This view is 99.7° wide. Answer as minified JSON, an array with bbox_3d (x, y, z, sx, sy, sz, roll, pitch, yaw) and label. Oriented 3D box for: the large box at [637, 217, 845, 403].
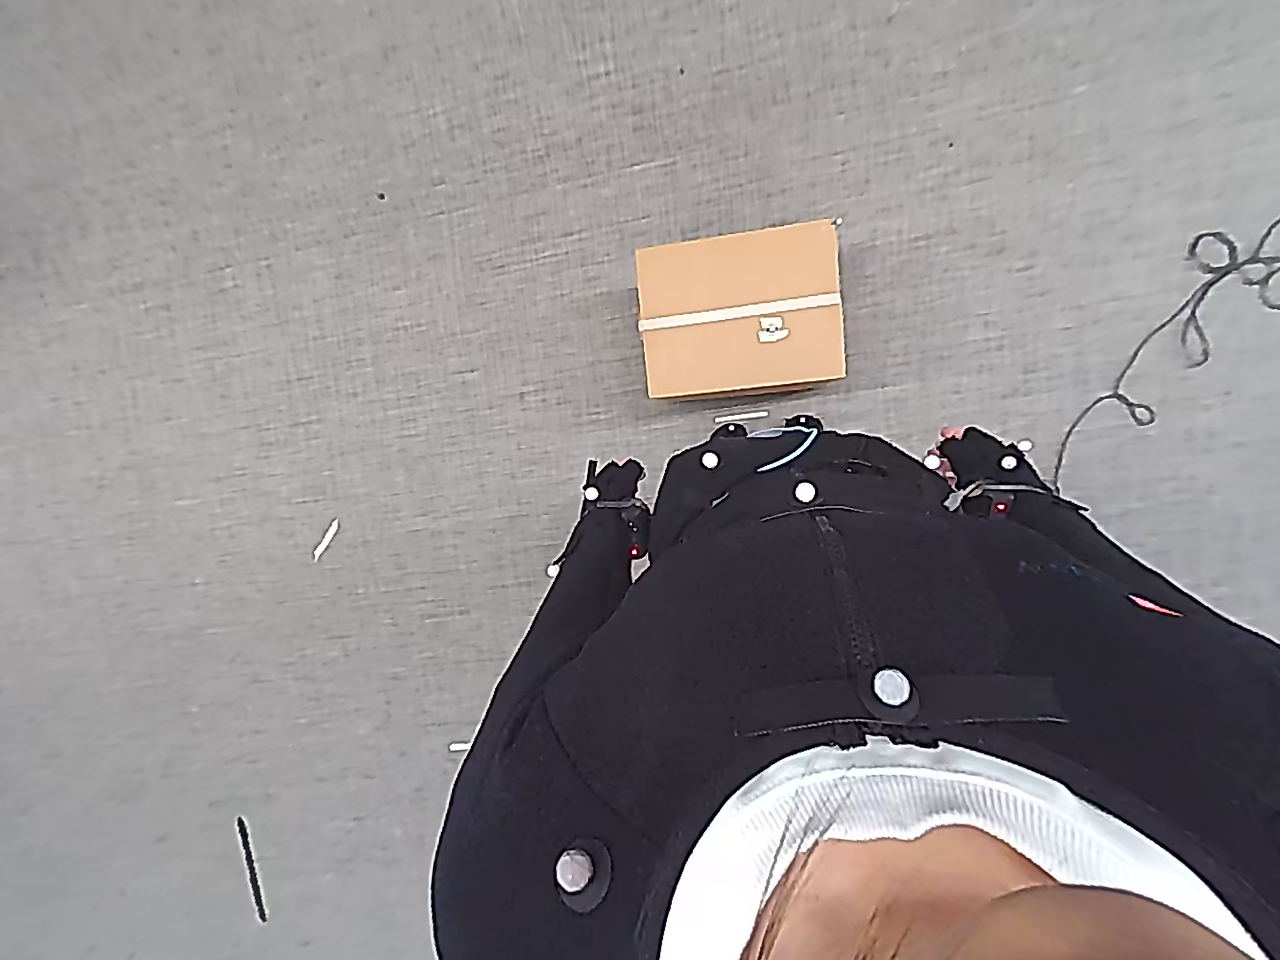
[{"bbox_3d":[0.227,-0.363,1.257,0.408,0.320,0.320,-5,96,10],"label":"large box"}]
